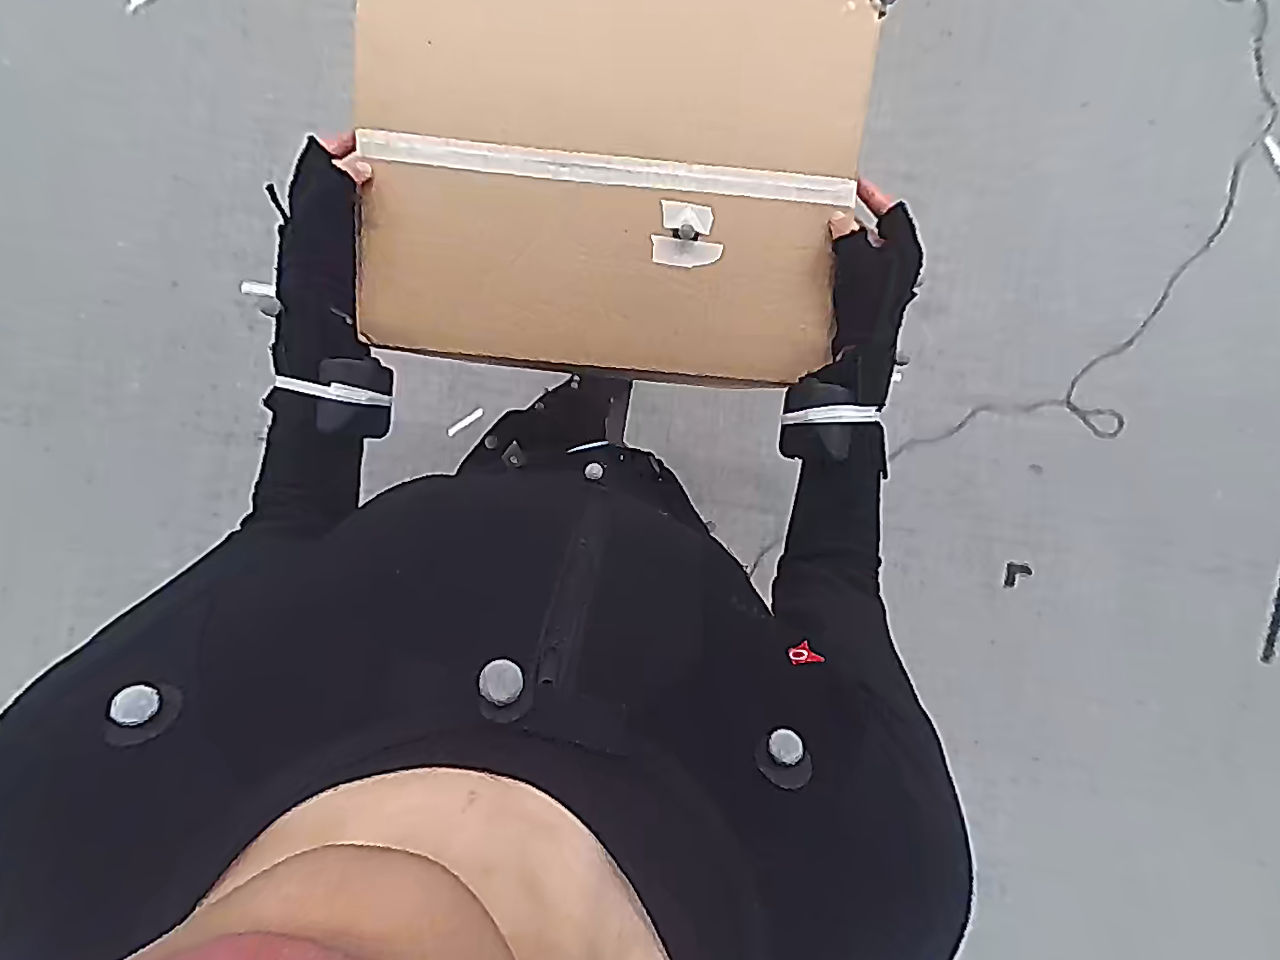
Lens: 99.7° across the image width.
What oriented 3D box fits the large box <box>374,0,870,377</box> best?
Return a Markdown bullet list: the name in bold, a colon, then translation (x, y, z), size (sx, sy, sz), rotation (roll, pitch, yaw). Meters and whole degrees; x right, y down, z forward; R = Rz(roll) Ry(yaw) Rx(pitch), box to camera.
- **large box**: translation (-0.028, -0.287, 0.599), size (0.408, 0.320, 0.320), rotation (5, 101, -3)
